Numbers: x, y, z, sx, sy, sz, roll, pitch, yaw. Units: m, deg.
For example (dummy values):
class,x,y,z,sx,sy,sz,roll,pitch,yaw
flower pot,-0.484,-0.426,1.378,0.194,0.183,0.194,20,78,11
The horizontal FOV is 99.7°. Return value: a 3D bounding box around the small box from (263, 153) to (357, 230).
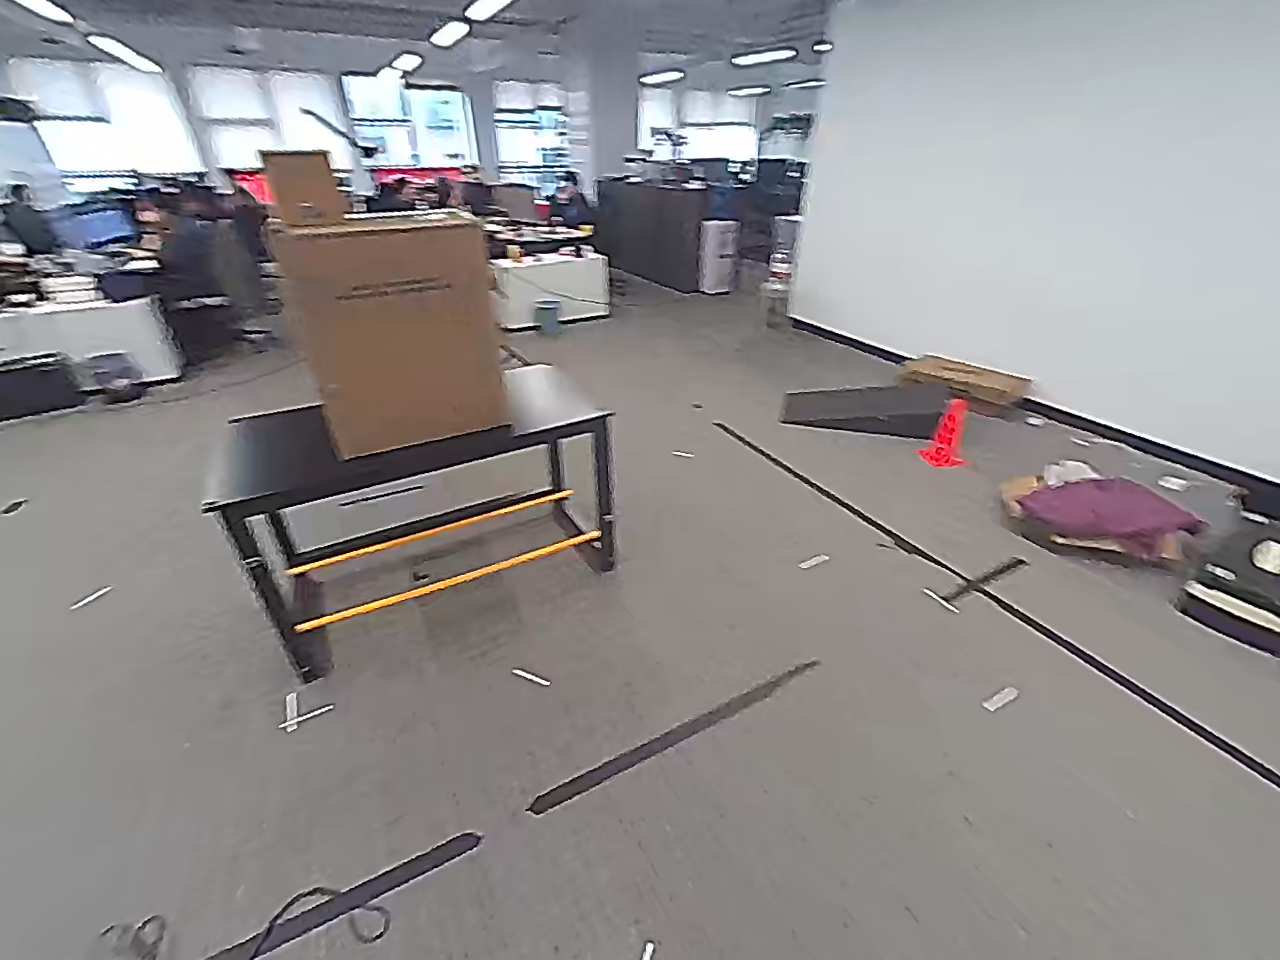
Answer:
class,x,y,z,sx,sy,sz,roll,pitch,yaw
small box,-0.875,-0.769,1.438,0.168,0.176,0.179,-20,39,-28
